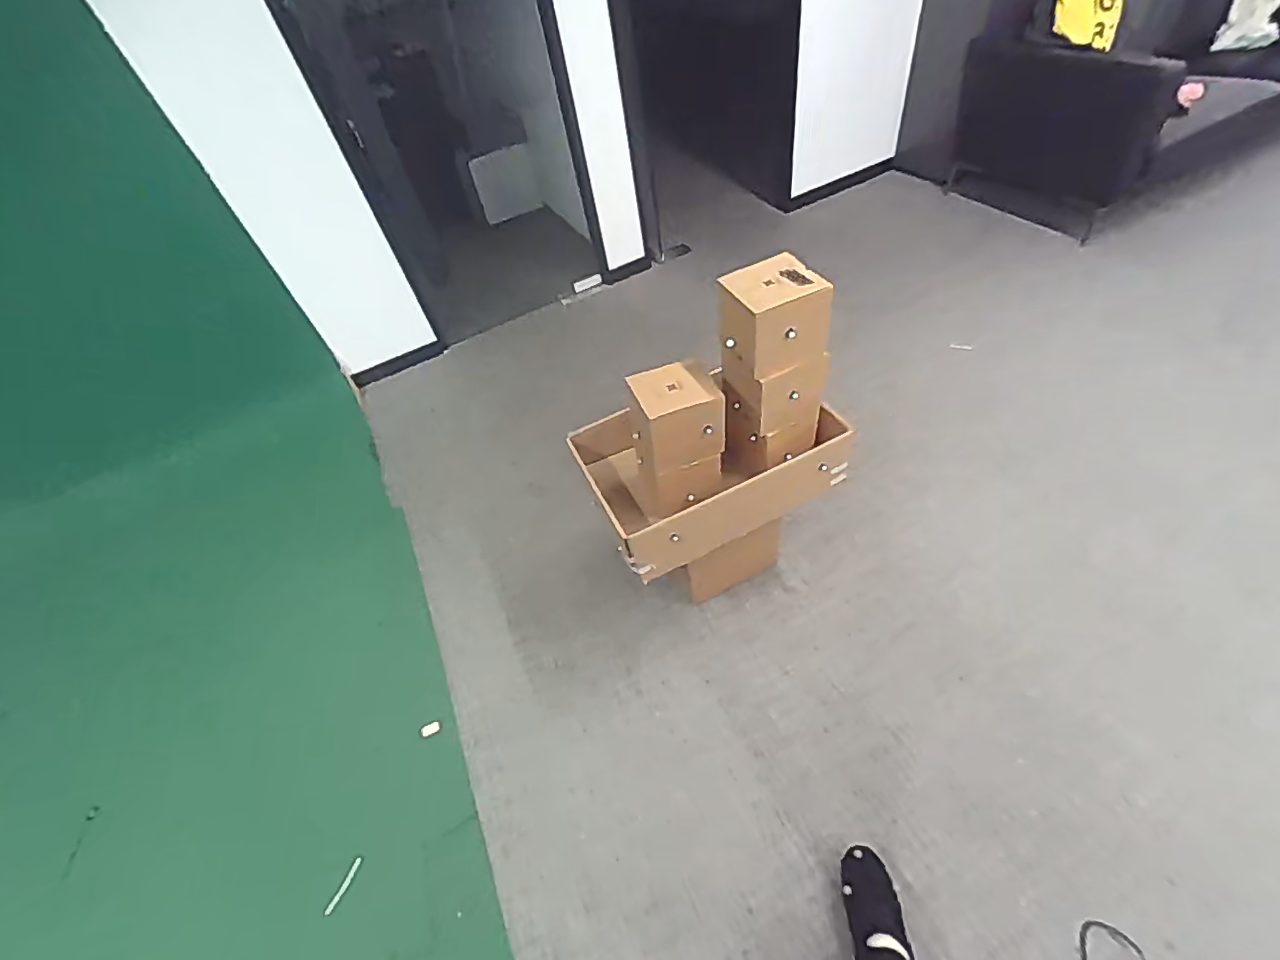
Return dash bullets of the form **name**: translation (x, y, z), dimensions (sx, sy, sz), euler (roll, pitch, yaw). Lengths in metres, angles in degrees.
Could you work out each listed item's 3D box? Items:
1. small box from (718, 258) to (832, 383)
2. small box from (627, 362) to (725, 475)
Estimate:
- **small box**: translation (0.282, -0.341, 1.160), dimensions (0.179, 0.176, 0.168), euler (-23, 49, -7)
- **small box**: translation (0.084, -0.140, 1.245), dimensions (0.179, 0.176, 0.168), euler (-18, 46, -8)
